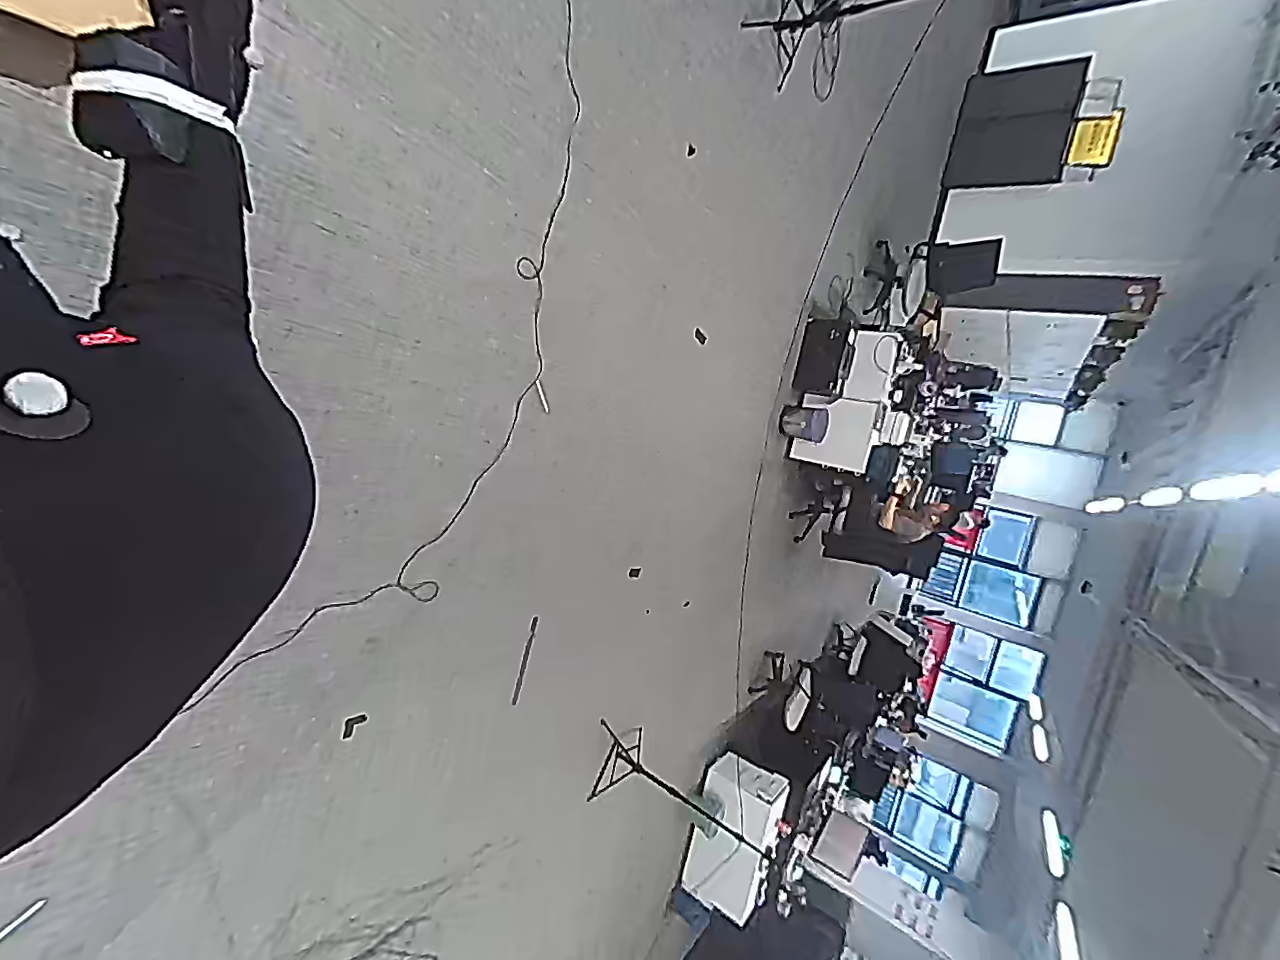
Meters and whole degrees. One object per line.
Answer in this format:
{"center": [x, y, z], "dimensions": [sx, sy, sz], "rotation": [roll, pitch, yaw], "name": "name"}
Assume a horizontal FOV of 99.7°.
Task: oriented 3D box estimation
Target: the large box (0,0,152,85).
{"center": [-0.534, -0.447, 0.241], "dimensions": [0.408, 0.320, 0.320], "rotation": [-10, 119, -55], "name": "large box"}
